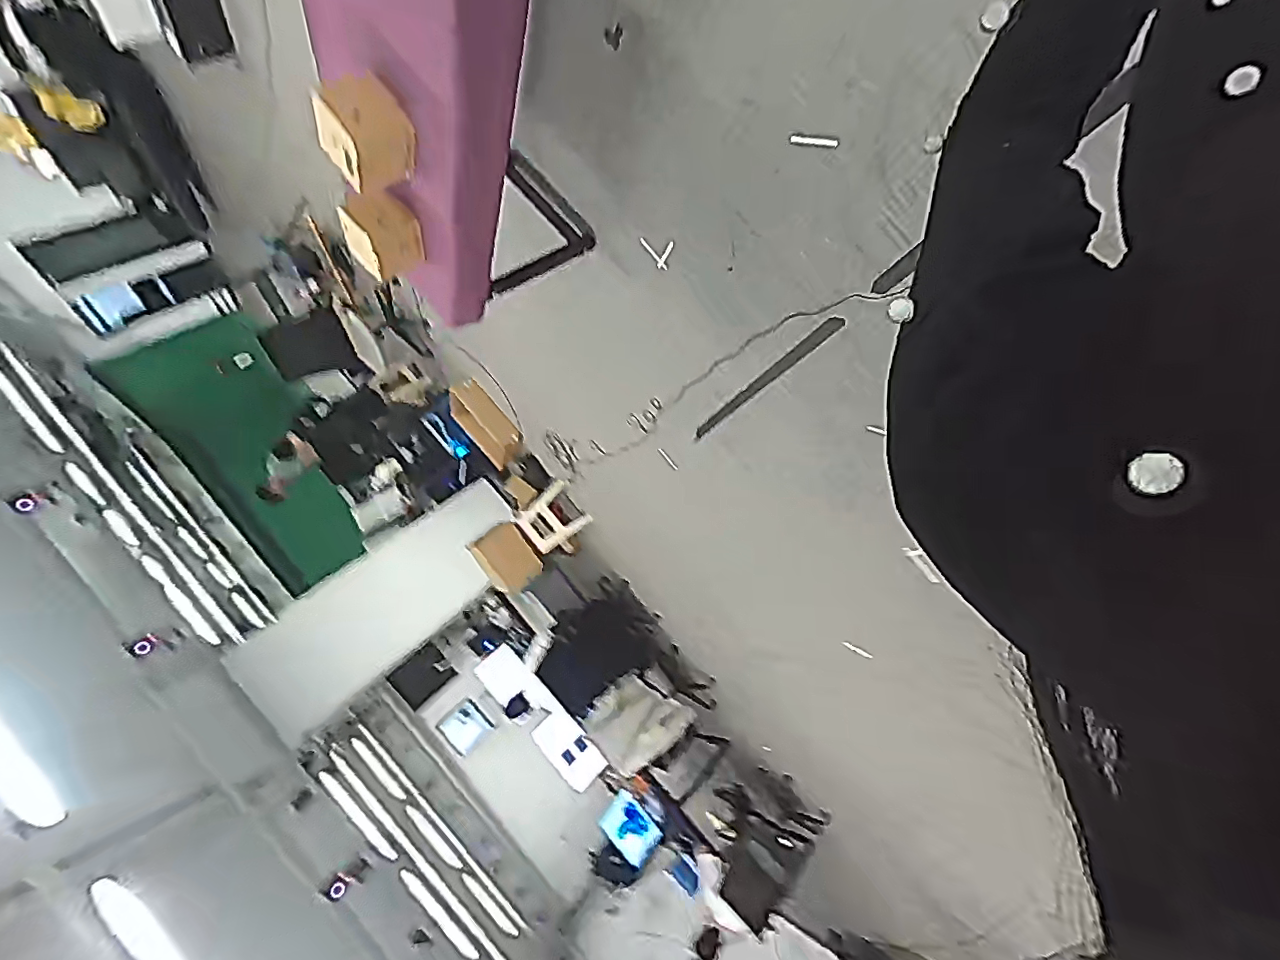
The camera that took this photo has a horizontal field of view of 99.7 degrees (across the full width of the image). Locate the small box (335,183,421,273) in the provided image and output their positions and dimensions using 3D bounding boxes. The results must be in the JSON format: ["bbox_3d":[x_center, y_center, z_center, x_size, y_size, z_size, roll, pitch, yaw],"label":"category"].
[{"bbox_3d":[-0.805,-0.793,1.692,0.179,0.176,0.168,44,151,11],"label":"small box"}]

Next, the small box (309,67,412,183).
[{"bbox_3d":[-0.714,-0.924,1.403,0.179,0.176,0.168,53,152,-2],"label":"small box"}]
